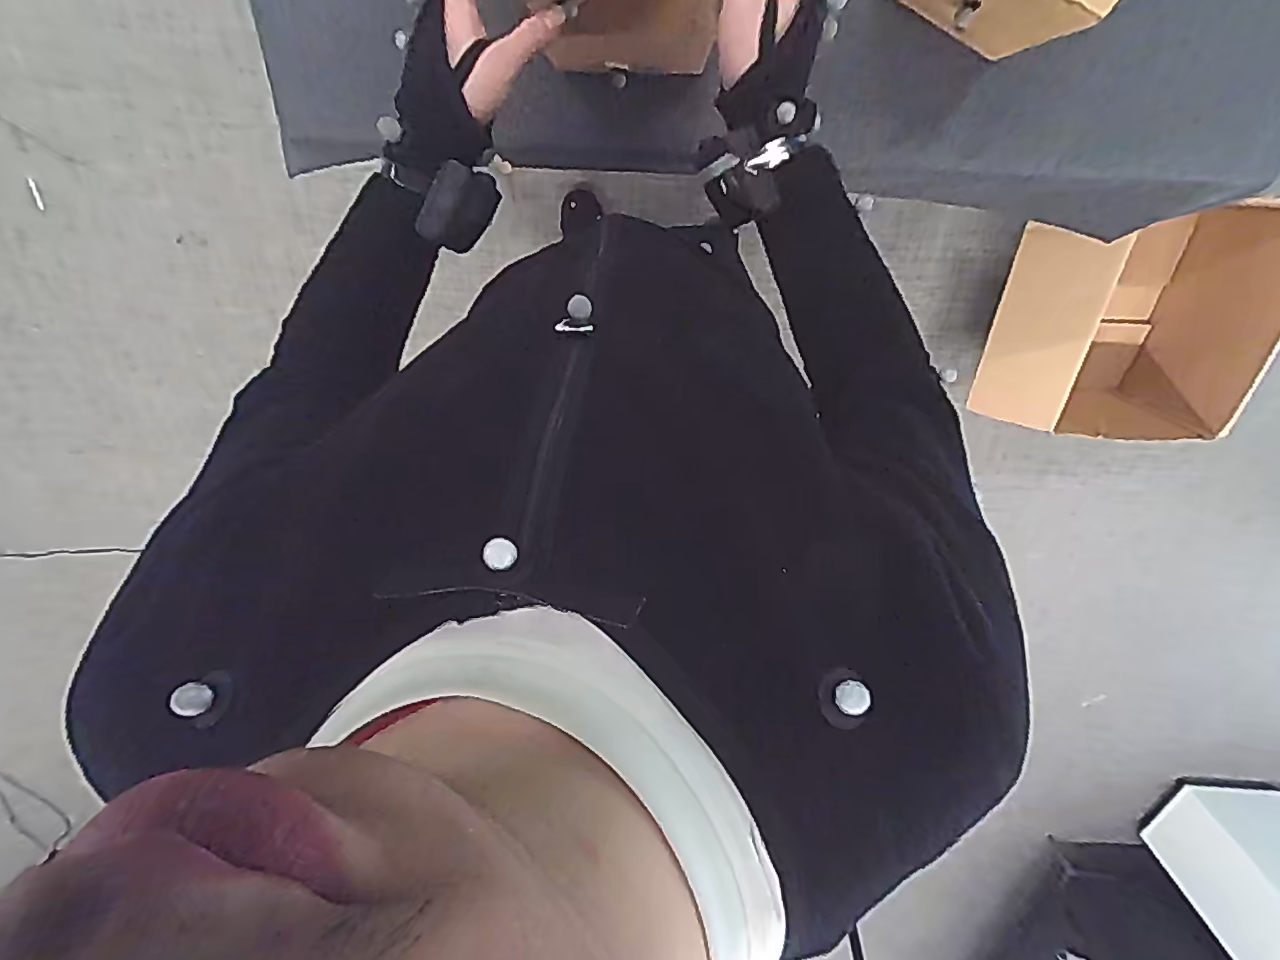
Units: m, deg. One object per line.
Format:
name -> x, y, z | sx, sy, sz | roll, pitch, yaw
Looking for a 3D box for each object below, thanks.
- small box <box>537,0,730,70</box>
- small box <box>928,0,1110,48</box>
small box -> -0.004, -0.498, 0.491 | 0.168, 0.176, 0.179 | 1, 119, 1
small box -> 0.360, -0.533, 0.483 | 0.168, 0.176, 0.179 | 22, 118, -11
